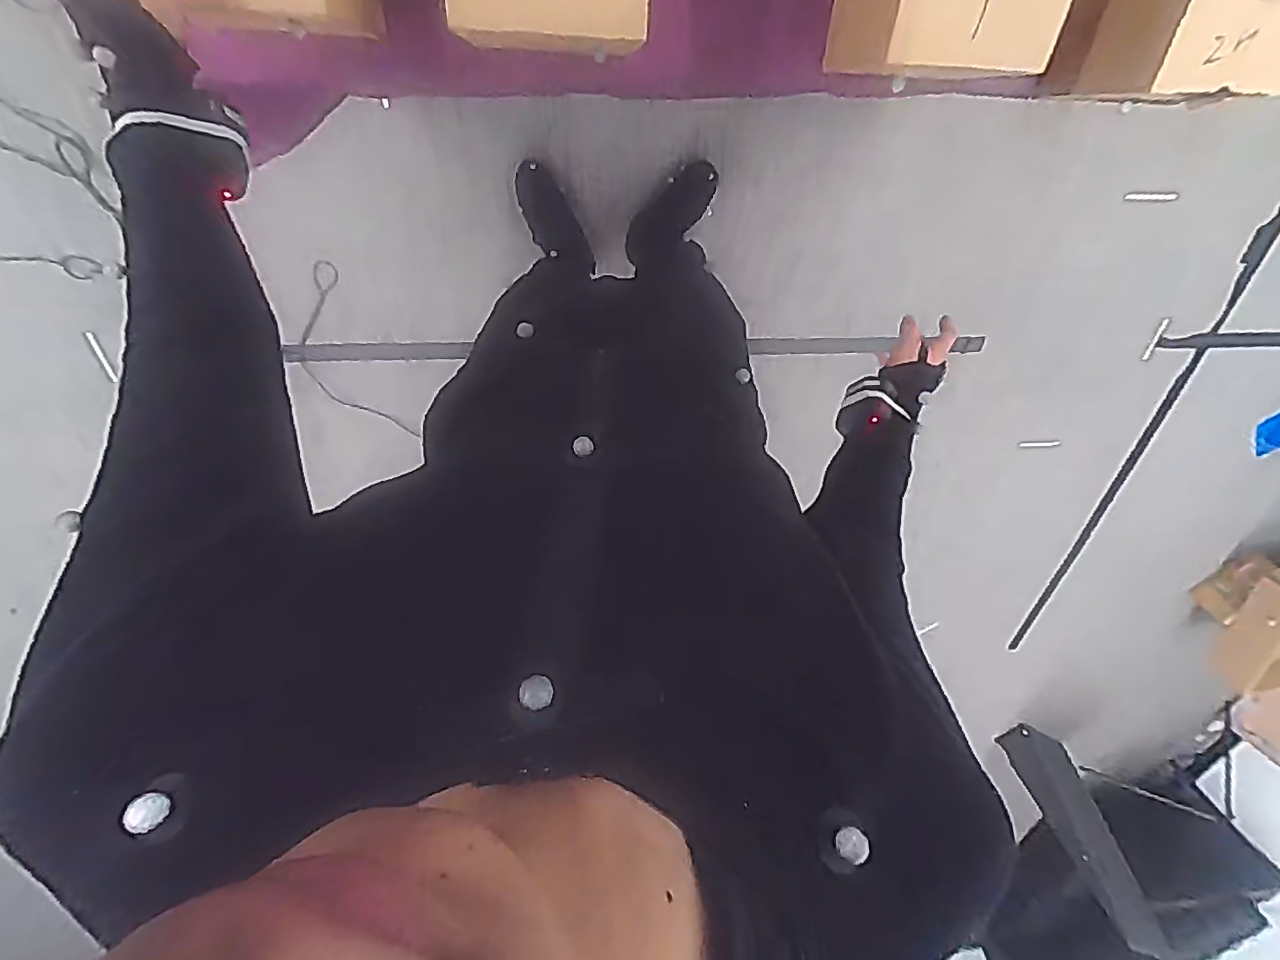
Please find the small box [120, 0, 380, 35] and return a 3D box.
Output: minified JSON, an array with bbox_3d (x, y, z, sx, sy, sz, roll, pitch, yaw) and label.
[{"bbox_3d":[-0.352,-0.499,0.464,0.179,0.176,0.168,-3,125,-7],"label":"small box"}]
